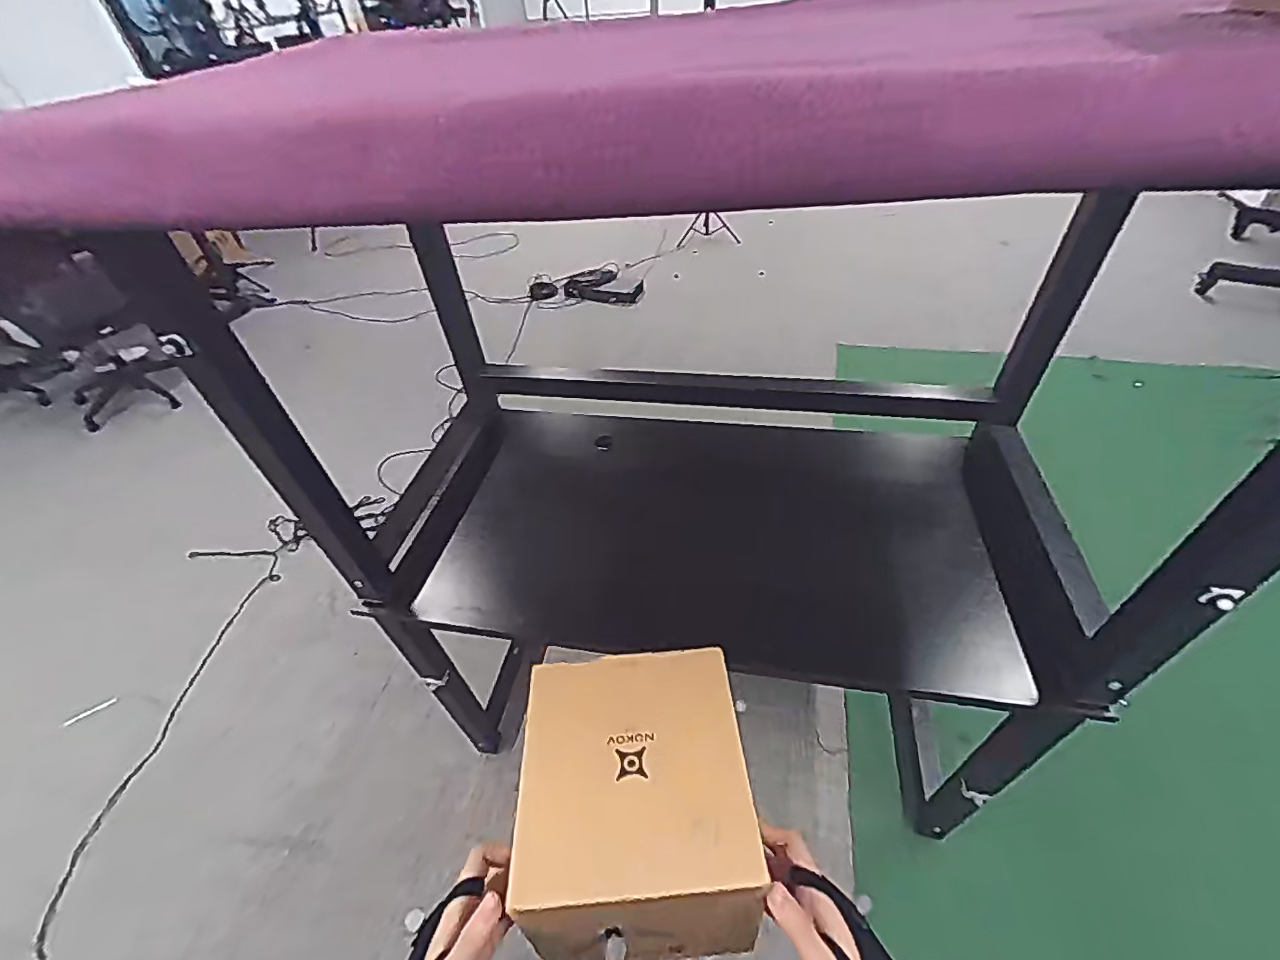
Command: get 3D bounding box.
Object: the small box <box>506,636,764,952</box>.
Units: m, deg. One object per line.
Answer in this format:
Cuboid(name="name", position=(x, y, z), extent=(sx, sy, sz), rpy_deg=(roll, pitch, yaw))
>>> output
Cuboid(name="small box", position=(0.000, 0.258, 0.445), extent=(0.168, 0.176, 0.179), rpy_deg=(-6, 37, -1))
